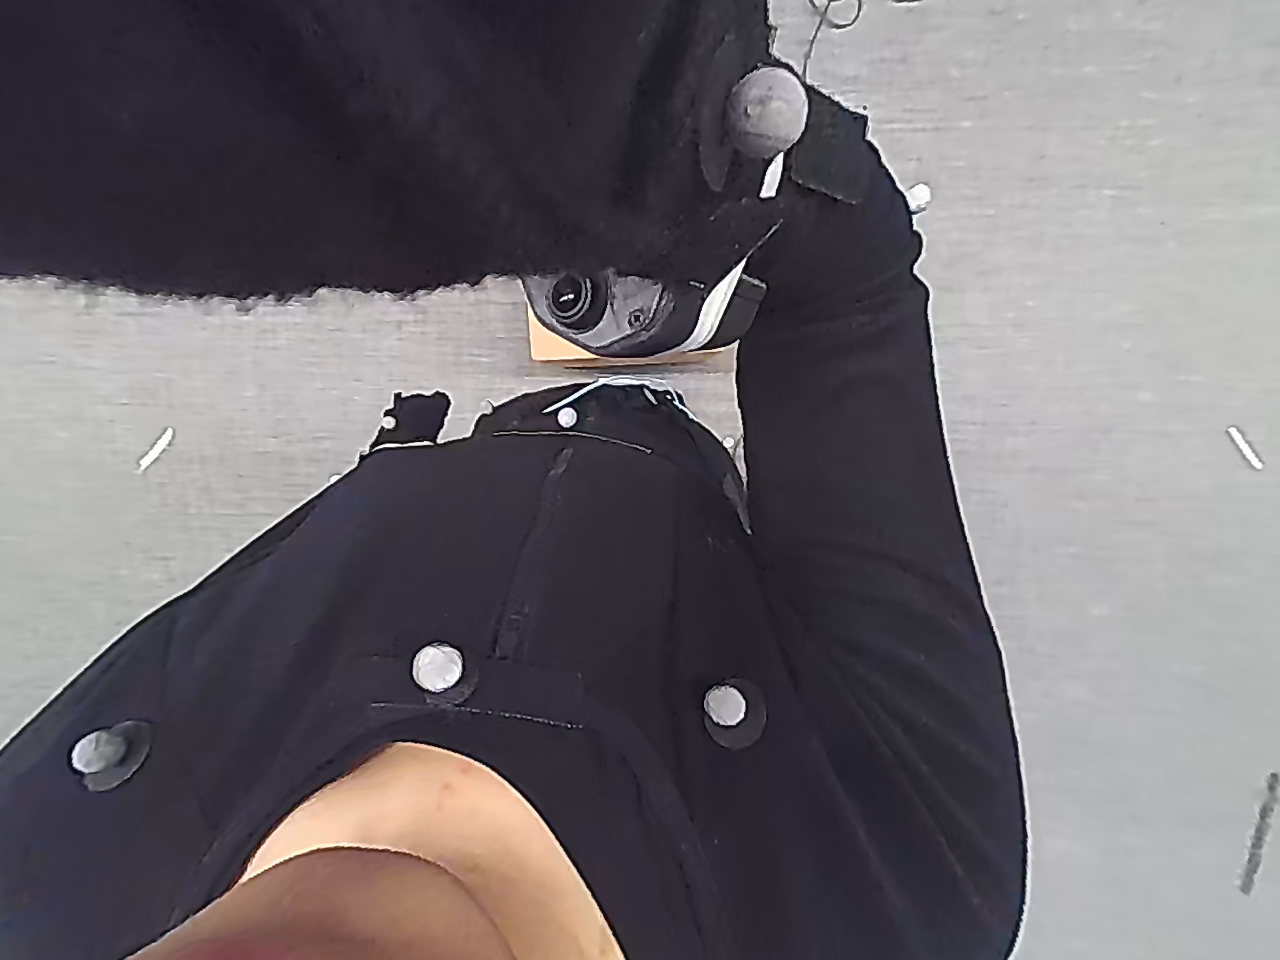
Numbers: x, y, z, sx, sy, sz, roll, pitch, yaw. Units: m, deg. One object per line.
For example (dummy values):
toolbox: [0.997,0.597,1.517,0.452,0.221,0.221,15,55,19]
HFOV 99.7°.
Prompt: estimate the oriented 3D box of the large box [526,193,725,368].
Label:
large box: [-0.026,-0.438,1.265,0.408,0.320,0.320,-3,99,2]
